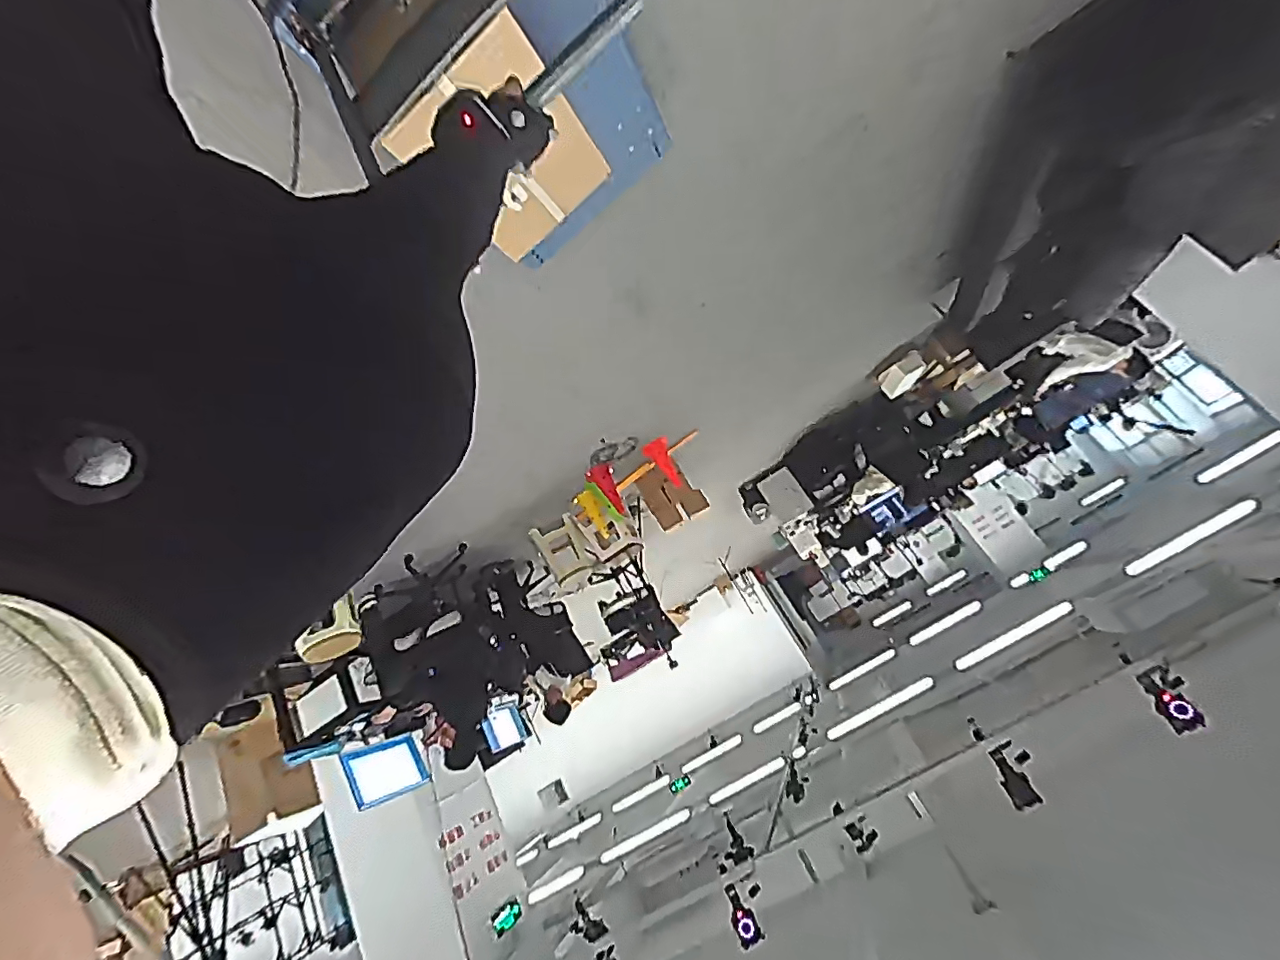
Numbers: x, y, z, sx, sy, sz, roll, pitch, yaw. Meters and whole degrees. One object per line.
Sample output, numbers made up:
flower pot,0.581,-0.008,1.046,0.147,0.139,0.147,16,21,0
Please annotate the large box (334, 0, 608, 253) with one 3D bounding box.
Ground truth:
large box,-0.341,-0.788,1.153,0.320,0.320,0.408,-36,159,14
